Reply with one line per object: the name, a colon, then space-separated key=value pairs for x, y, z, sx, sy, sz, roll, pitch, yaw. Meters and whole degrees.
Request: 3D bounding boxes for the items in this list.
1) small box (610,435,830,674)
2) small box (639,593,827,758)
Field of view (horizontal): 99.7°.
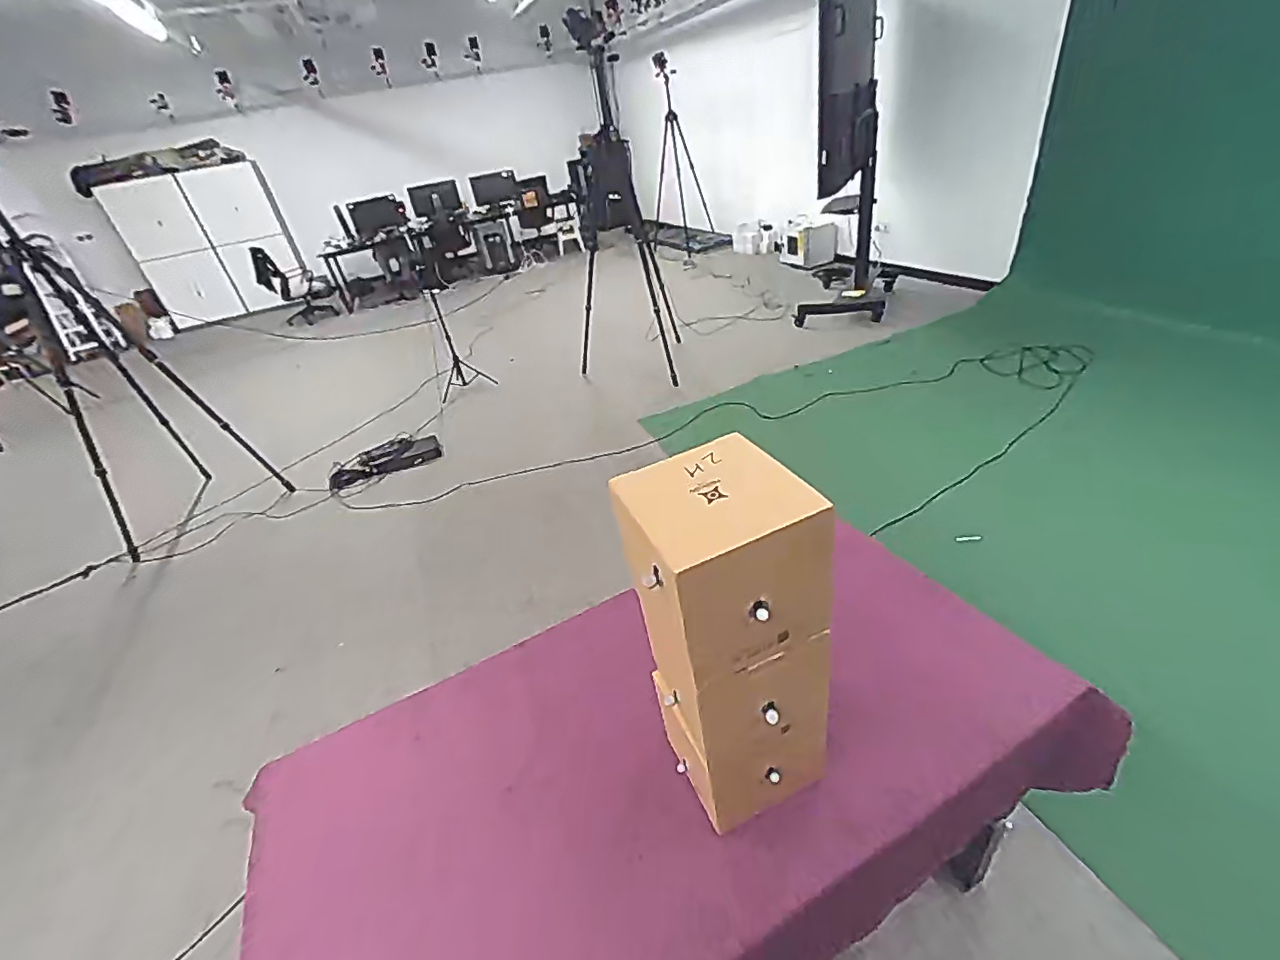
small box: x=0.085 y=0.081 z=0.587 sx=0.168 sy=0.176 sz=0.179 roll=-20 pitch=34 yaw=-13
small box: x=0.114 y=0.215 z=0.680 sx=0.168 sy=0.176 sz=0.179 roll=-19 pitch=35 yaw=-12
